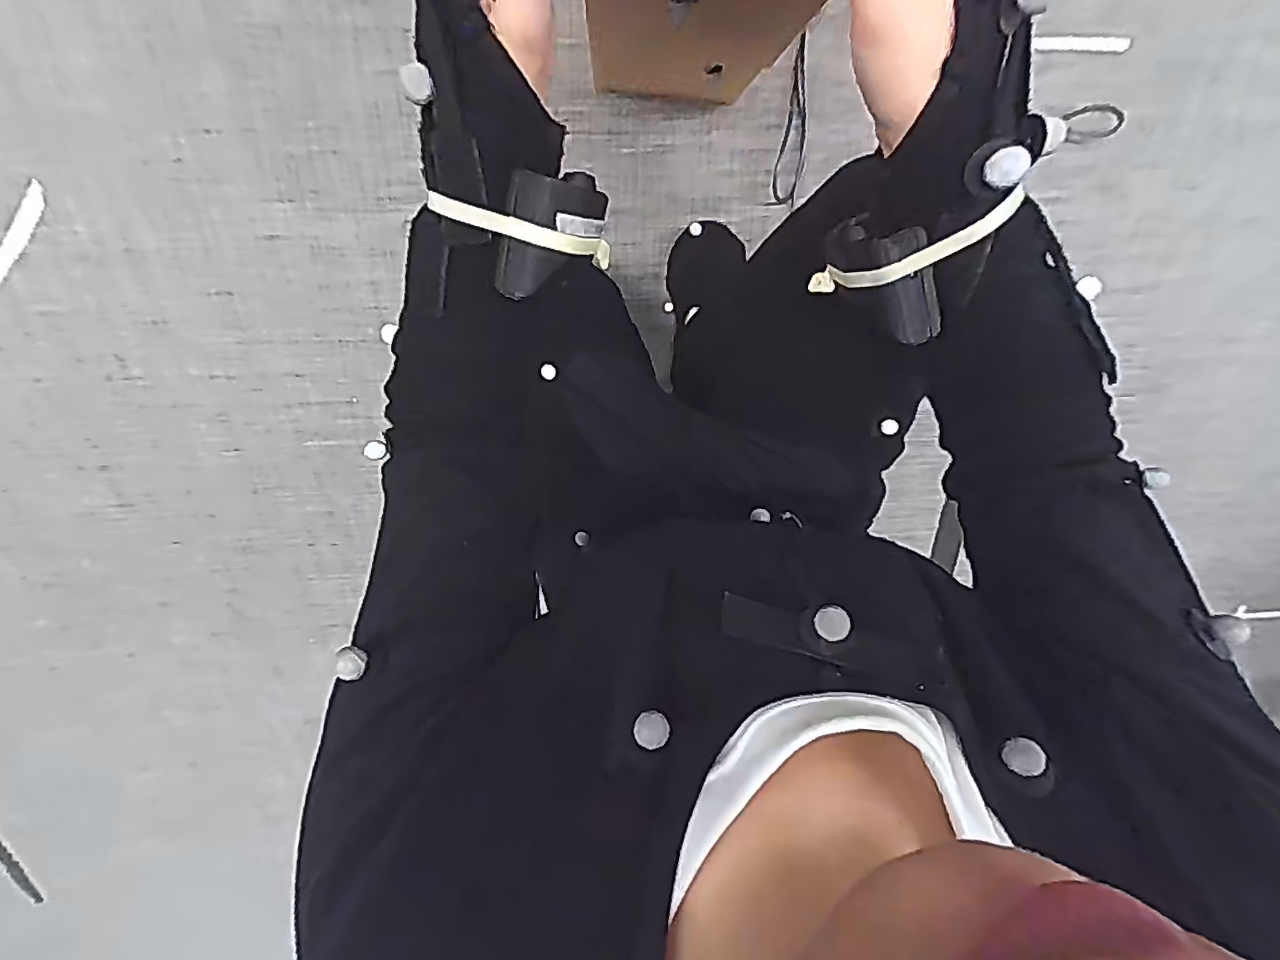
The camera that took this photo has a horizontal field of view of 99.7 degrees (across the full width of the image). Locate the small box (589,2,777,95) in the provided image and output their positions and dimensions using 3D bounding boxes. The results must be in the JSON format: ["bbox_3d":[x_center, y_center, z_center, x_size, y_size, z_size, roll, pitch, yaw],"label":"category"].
[{"bbox_3d":[0.043,-0.507,0.537,0.179,0.176,0.168,4,112,-4],"label":"small box"}]

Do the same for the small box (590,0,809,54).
[{"bbox_3d":[0.053,-0.439,0.388,0.179,0.176,0.168,4,113,-5],"label":"small box"}]
